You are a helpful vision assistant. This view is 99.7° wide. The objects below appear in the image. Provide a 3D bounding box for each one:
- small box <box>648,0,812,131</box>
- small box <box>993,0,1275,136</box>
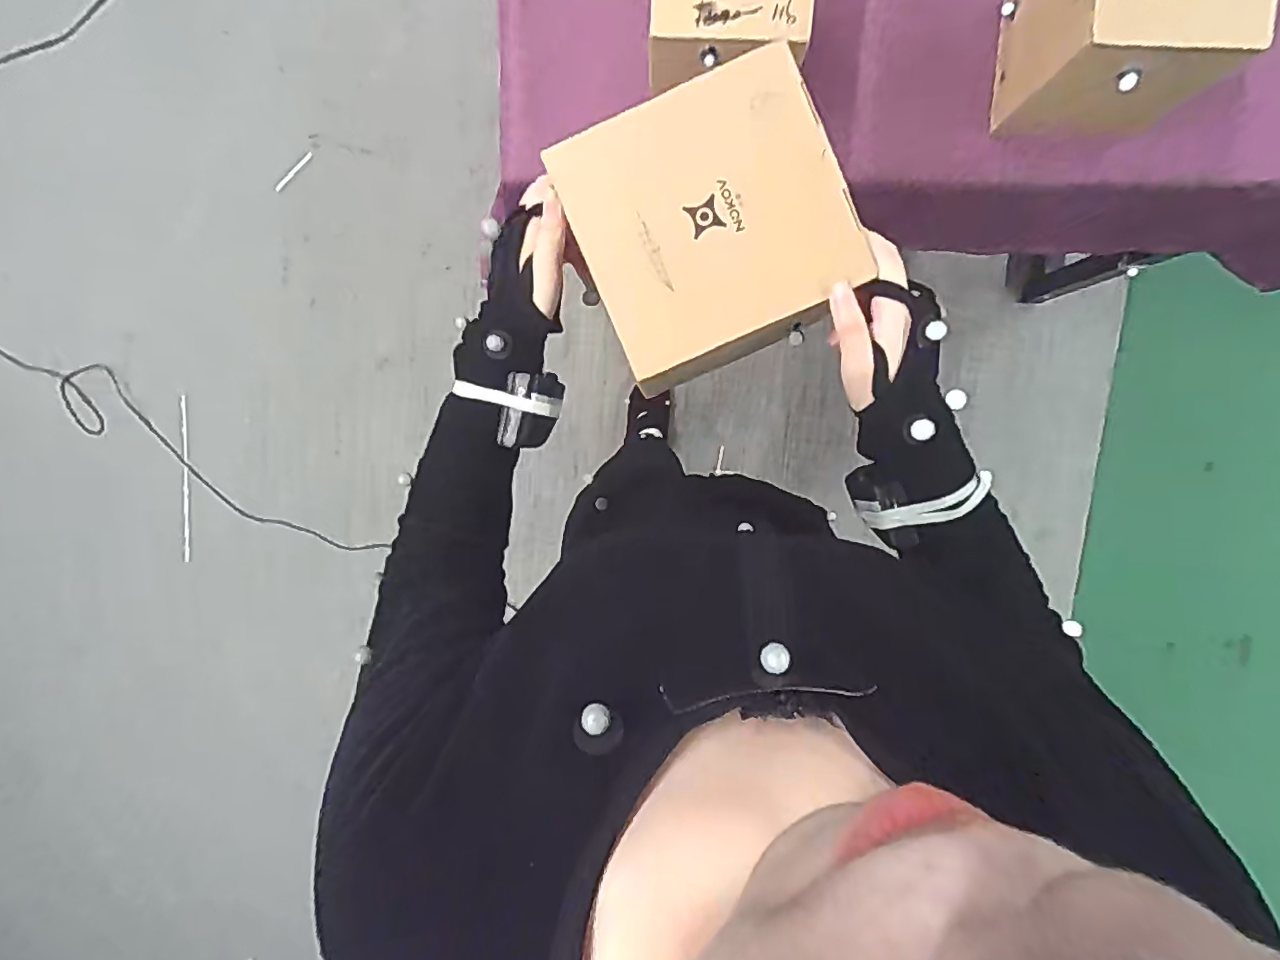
[{"bbox_3d":[0.099,-0.542,0.620,0.168,0.176,0.179,4,95,3],"label":"small box"},{"bbox_3d":[0.533,-0.513,0.603,0.179,0.176,0.168,3,96,2],"label":"small box"}]
